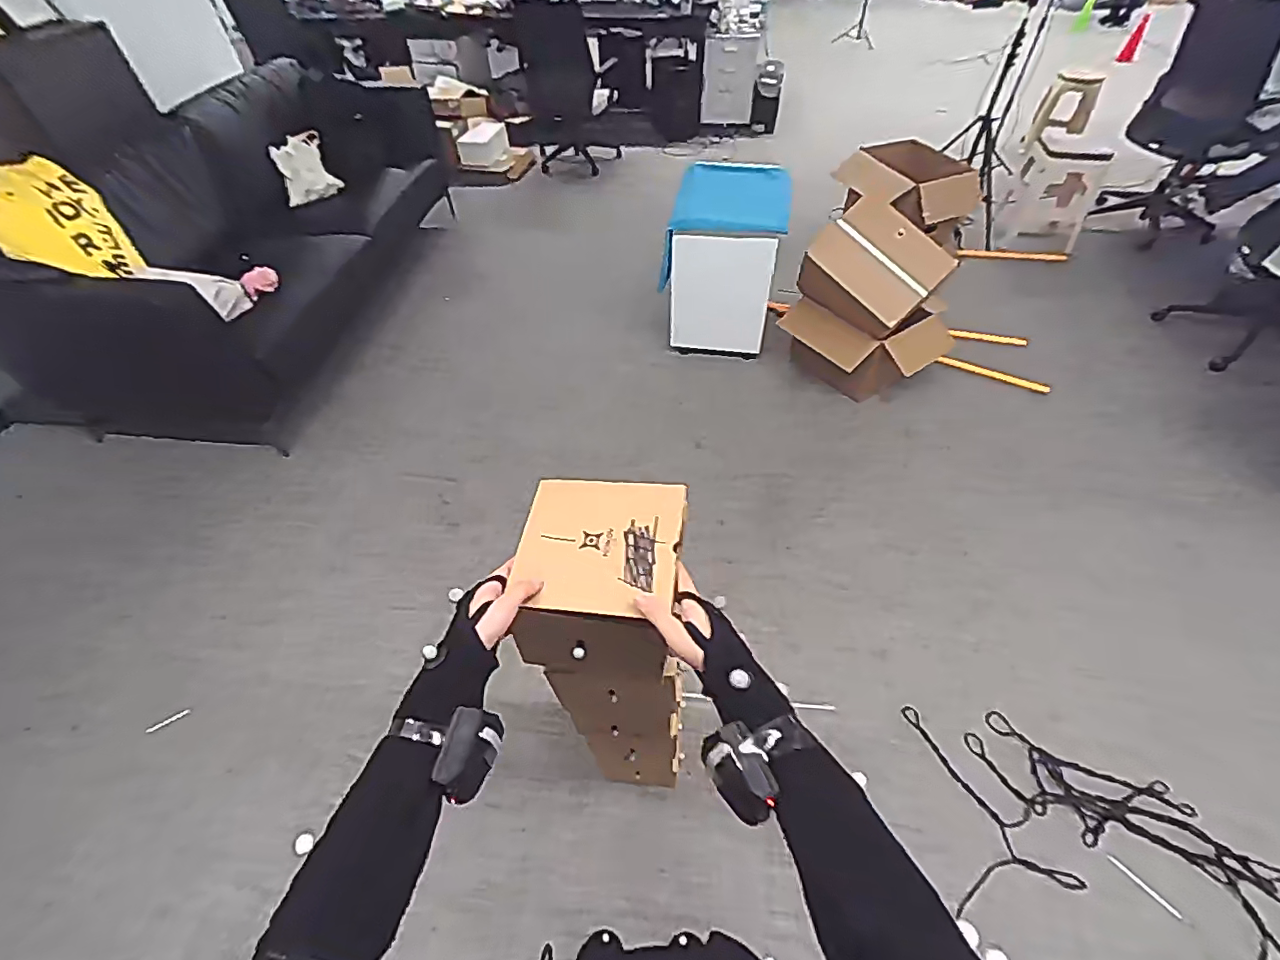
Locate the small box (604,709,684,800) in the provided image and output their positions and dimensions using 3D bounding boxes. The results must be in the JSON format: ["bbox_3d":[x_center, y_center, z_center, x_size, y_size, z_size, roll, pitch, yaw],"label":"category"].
[{"bbox_3d":[0.016,0.661,1.311,0.179,0.176,0.168,3,48,5],"label":"small box"}]

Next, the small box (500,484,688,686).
[{"bbox_3d":[-0.044,0.129,0.640,0.179,0.176,0.168,7,51,5],"label":"small box"}]

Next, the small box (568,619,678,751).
[{"bbox_3d":[-0.020,0.348,0.936,0.168,0.176,0.179,1,49,5],"label":"small box"}]

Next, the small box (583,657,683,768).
[{"bbox_3d":[-0.007,0.453,1.059,0.179,0.176,0.168,1,49,4],"label":"small box"}]

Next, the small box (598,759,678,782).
[{"bbox_3d":[-0.002,0.551,1.191,0.179,0.176,0.168,3,49,6],"label":"small box"}]
